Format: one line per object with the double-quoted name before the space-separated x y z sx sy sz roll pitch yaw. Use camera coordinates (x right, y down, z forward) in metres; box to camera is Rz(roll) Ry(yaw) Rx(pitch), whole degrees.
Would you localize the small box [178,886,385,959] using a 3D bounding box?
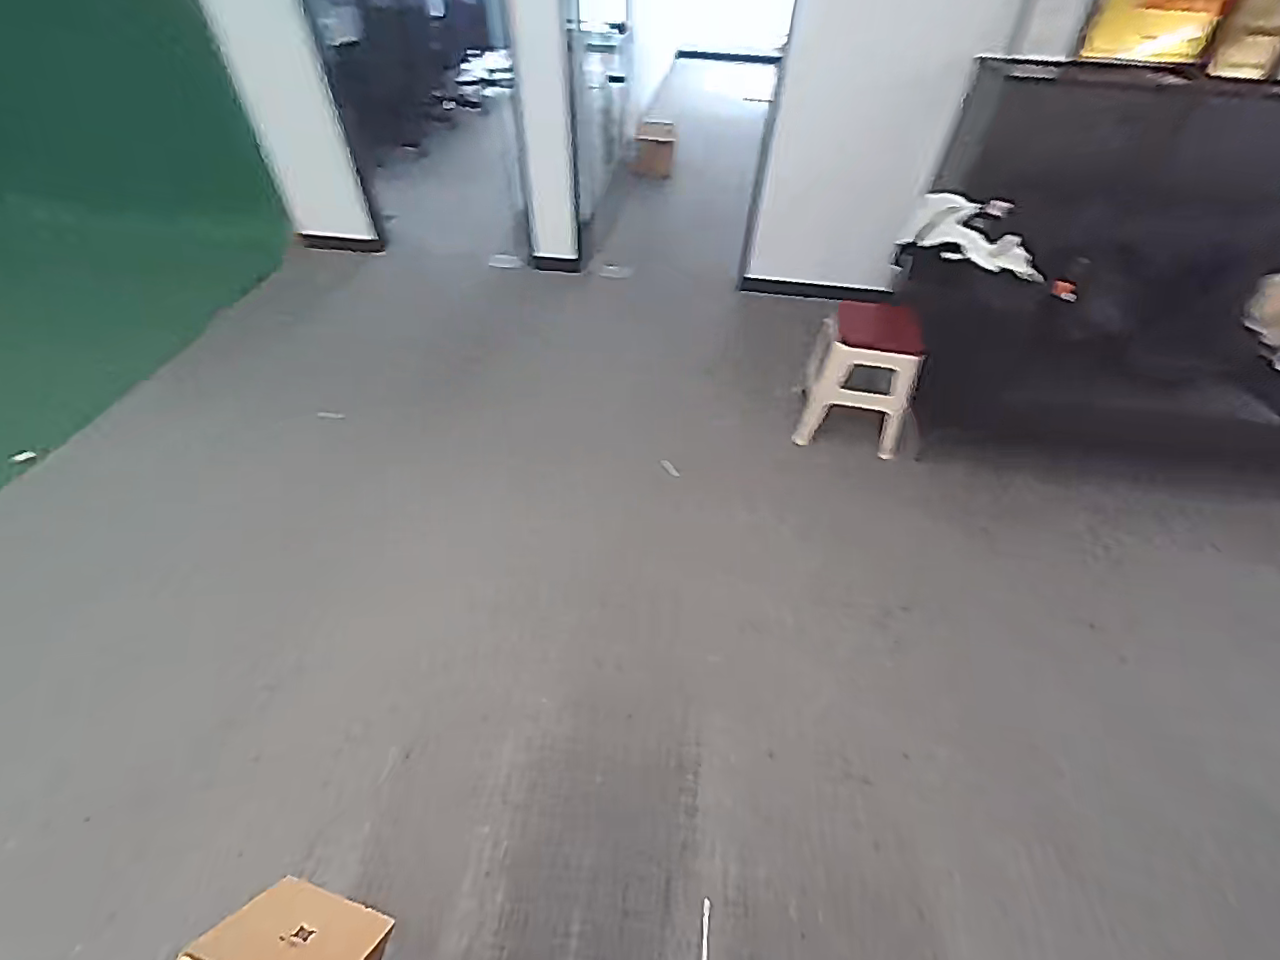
"small box" -0.440 0.630 0.626 0.168 0.179 0.176 17 78 5
